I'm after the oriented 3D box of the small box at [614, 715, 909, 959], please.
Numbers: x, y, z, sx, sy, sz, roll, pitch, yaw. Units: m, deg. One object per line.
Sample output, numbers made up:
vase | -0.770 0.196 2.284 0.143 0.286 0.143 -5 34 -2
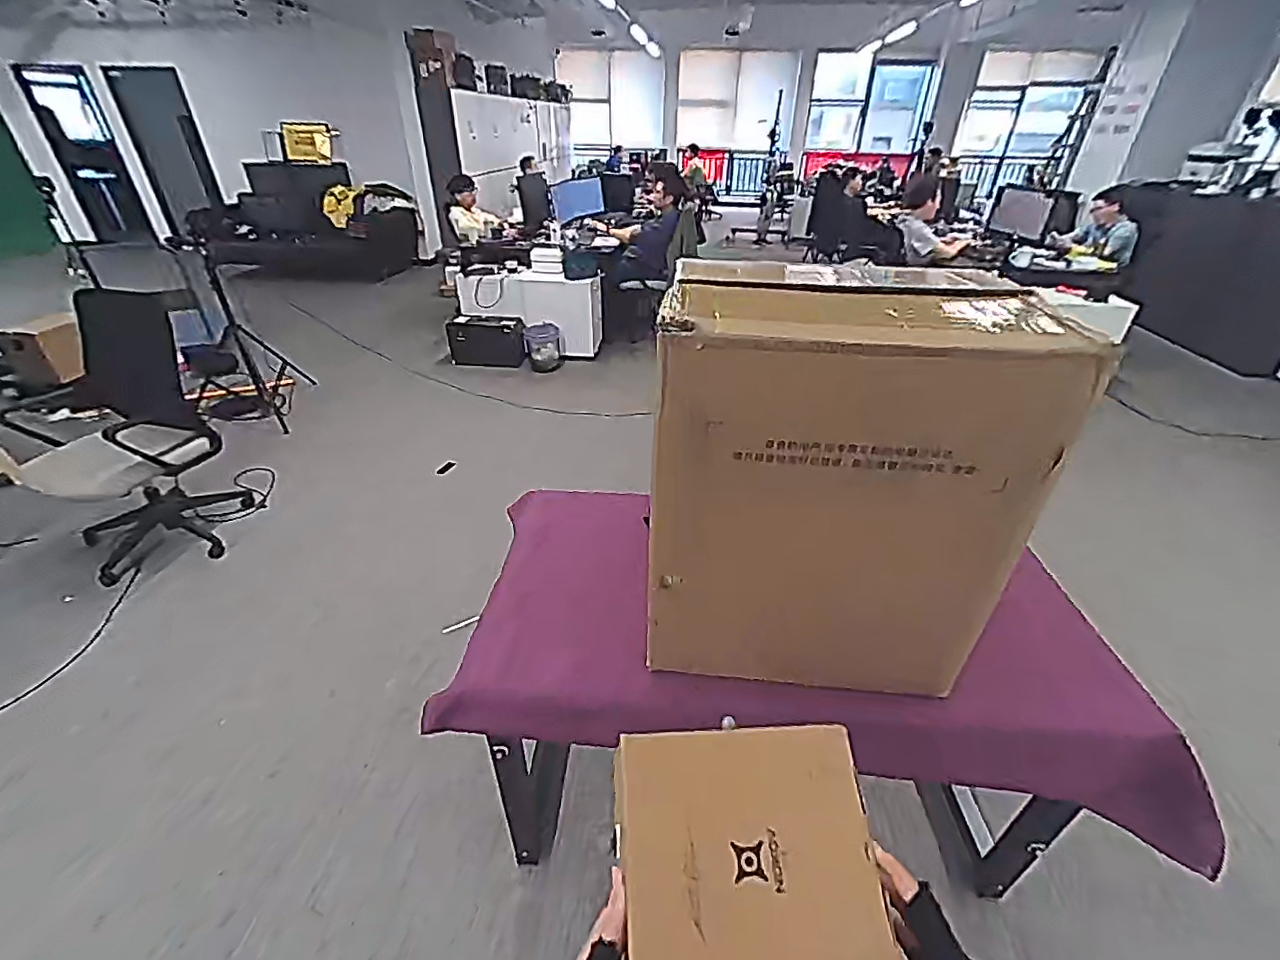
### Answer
small box | 0.072 0.293 0.430 0.179 0.176 0.168 -2 56 -5
